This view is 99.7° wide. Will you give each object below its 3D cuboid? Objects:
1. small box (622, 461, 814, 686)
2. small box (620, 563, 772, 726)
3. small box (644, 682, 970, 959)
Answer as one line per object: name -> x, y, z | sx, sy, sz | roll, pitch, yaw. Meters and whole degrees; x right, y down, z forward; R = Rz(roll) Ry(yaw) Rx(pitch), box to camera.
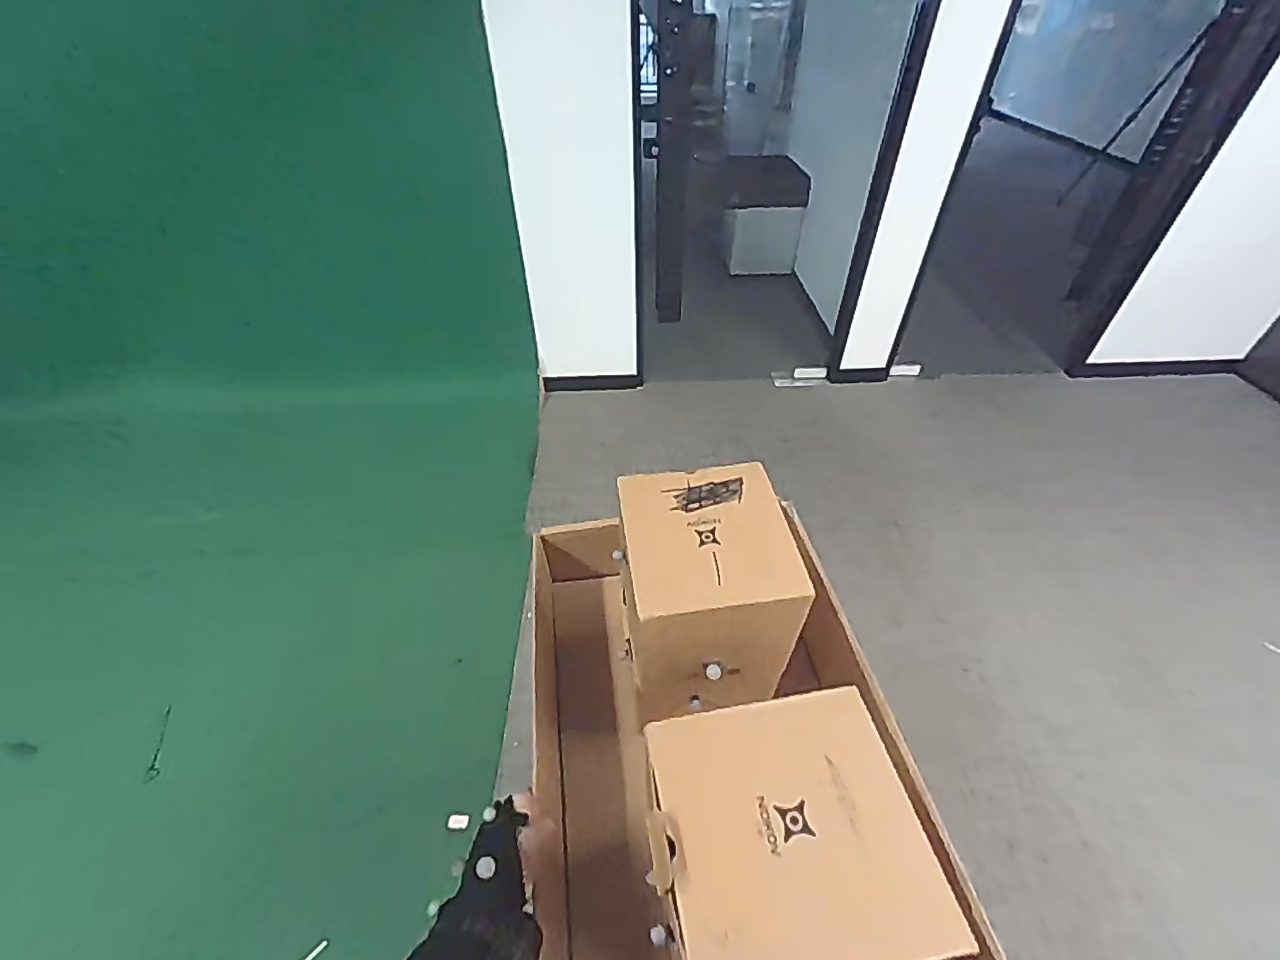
small box -> 0.069, 0.103, 0.599 | 0.168, 0.176, 0.179 | -6, 48, -4
small box -> 0.072, 0.213, 0.721 | 0.179, 0.176, 0.168 | -6, 46, -3
small box -> 0.103, 0.286, 0.425 | 0.179, 0.176, 0.168 | -7, 46, -7
